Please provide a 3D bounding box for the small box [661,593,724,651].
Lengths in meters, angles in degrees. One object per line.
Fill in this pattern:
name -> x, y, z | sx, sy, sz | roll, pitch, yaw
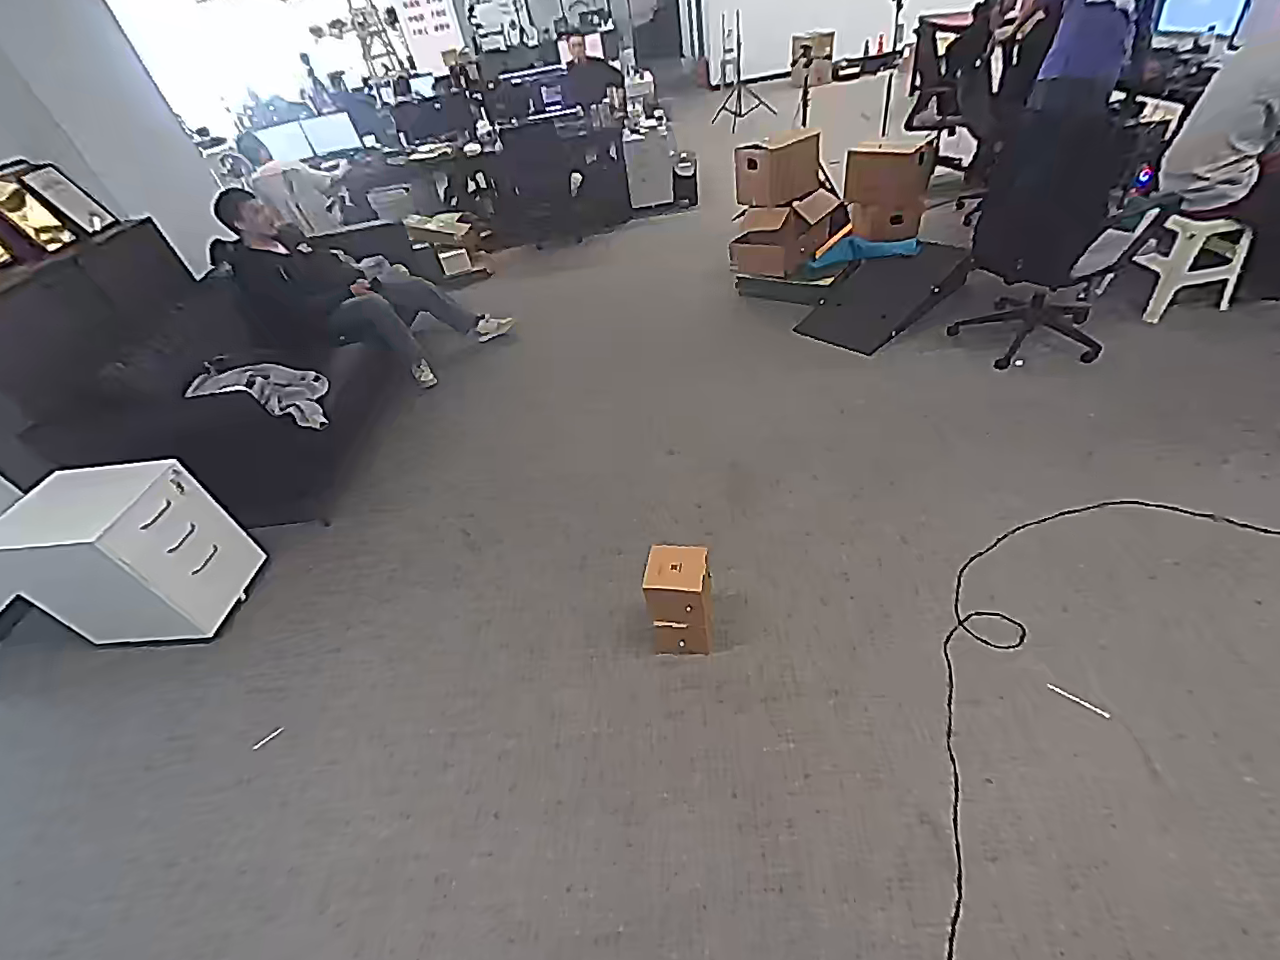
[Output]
small box -> 0.157, 0.423, 1.756 | 0.179, 0.176, 0.168 | -23, 41, -10

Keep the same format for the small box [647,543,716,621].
small box -> 0.134, 0.313, 1.649 | 0.179, 0.176, 0.168 | 0, 41, 16
